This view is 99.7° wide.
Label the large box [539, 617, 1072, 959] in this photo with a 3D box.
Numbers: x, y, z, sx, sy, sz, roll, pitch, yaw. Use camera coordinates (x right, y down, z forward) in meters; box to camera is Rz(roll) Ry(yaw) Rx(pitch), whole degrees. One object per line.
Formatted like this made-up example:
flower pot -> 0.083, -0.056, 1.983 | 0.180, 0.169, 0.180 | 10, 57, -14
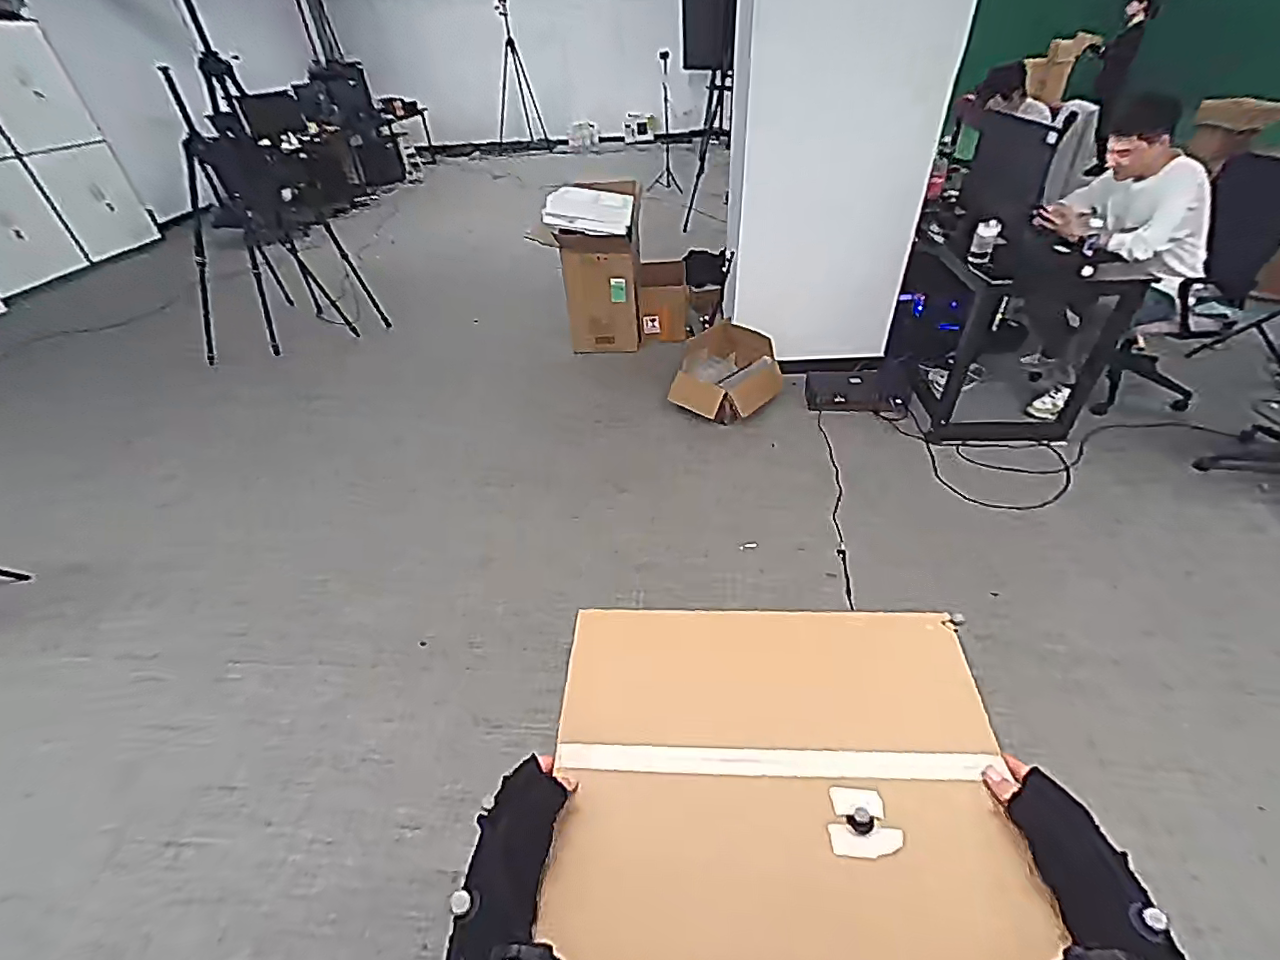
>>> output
large box -> 0.133, 0.368, 0.606 | 0.408, 0.320, 0.320 | -1, 46, 5
